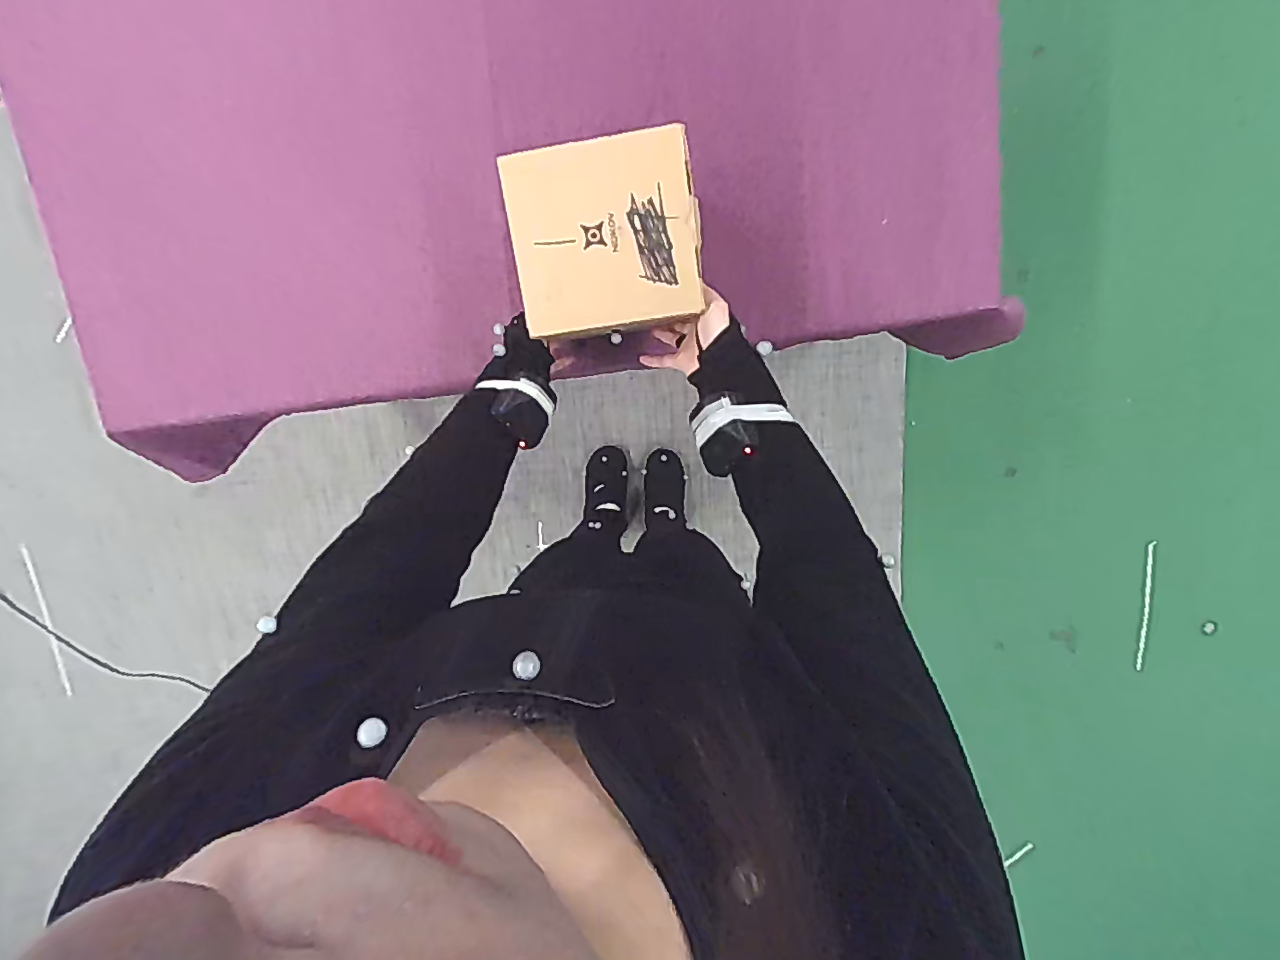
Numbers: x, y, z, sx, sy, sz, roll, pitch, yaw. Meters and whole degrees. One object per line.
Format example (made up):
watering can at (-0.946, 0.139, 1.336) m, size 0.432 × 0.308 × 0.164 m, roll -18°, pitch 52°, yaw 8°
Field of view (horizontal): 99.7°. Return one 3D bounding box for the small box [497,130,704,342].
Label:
small box at (-0.031, -0.244, 0.583) m, size 0.179 × 0.176 × 0.168 m, roll -7°, pitch 103°, yaw 6°
